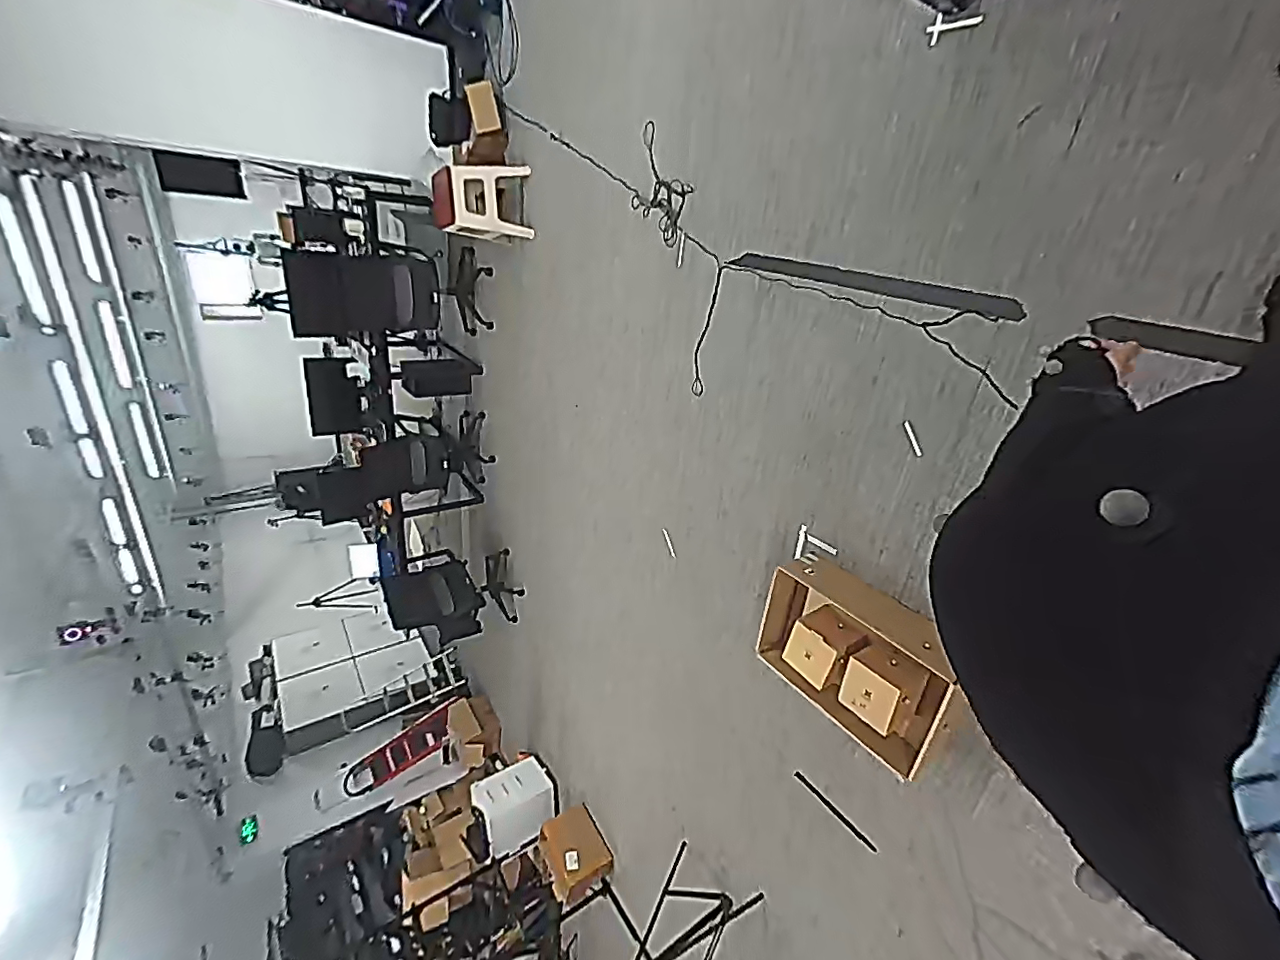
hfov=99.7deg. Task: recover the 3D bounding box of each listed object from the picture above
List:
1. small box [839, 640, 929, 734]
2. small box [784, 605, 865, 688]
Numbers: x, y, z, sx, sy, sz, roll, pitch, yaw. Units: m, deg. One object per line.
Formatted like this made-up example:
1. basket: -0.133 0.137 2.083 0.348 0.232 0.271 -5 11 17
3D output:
1. small box: 0.739 0.615 1.629 0.168 0.176 0.179 34 126 48
2. small box: 0.614 0.547 1.795 0.168 0.176 0.179 39 130 42
